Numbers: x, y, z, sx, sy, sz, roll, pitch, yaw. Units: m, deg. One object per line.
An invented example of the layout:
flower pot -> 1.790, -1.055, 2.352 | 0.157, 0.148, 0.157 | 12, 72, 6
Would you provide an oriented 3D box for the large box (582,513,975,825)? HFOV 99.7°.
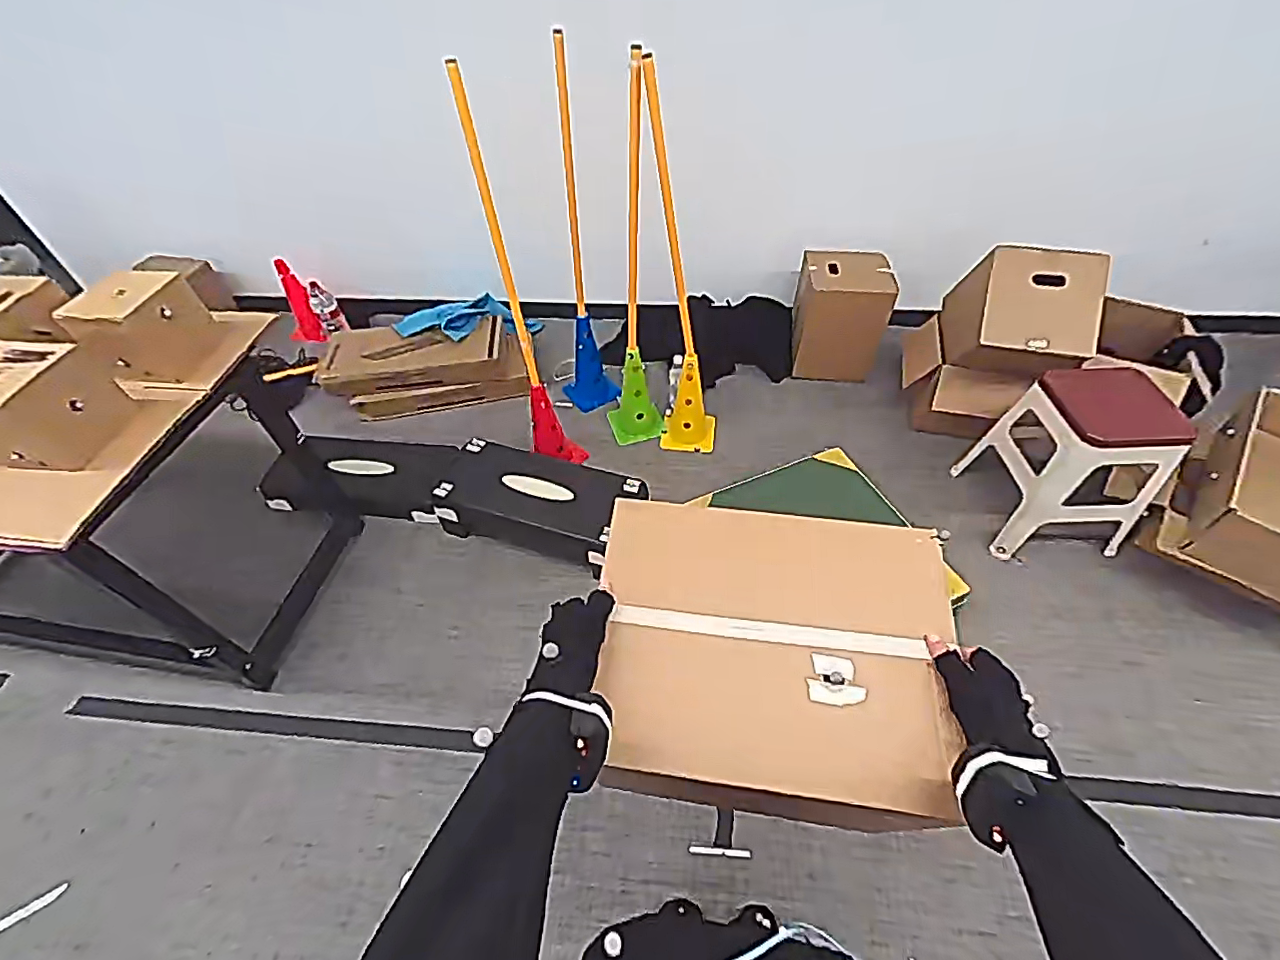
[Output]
large box -> 0.155, 0.268, 0.751 | 0.408, 0.320, 0.320 | 5, 57, 6
